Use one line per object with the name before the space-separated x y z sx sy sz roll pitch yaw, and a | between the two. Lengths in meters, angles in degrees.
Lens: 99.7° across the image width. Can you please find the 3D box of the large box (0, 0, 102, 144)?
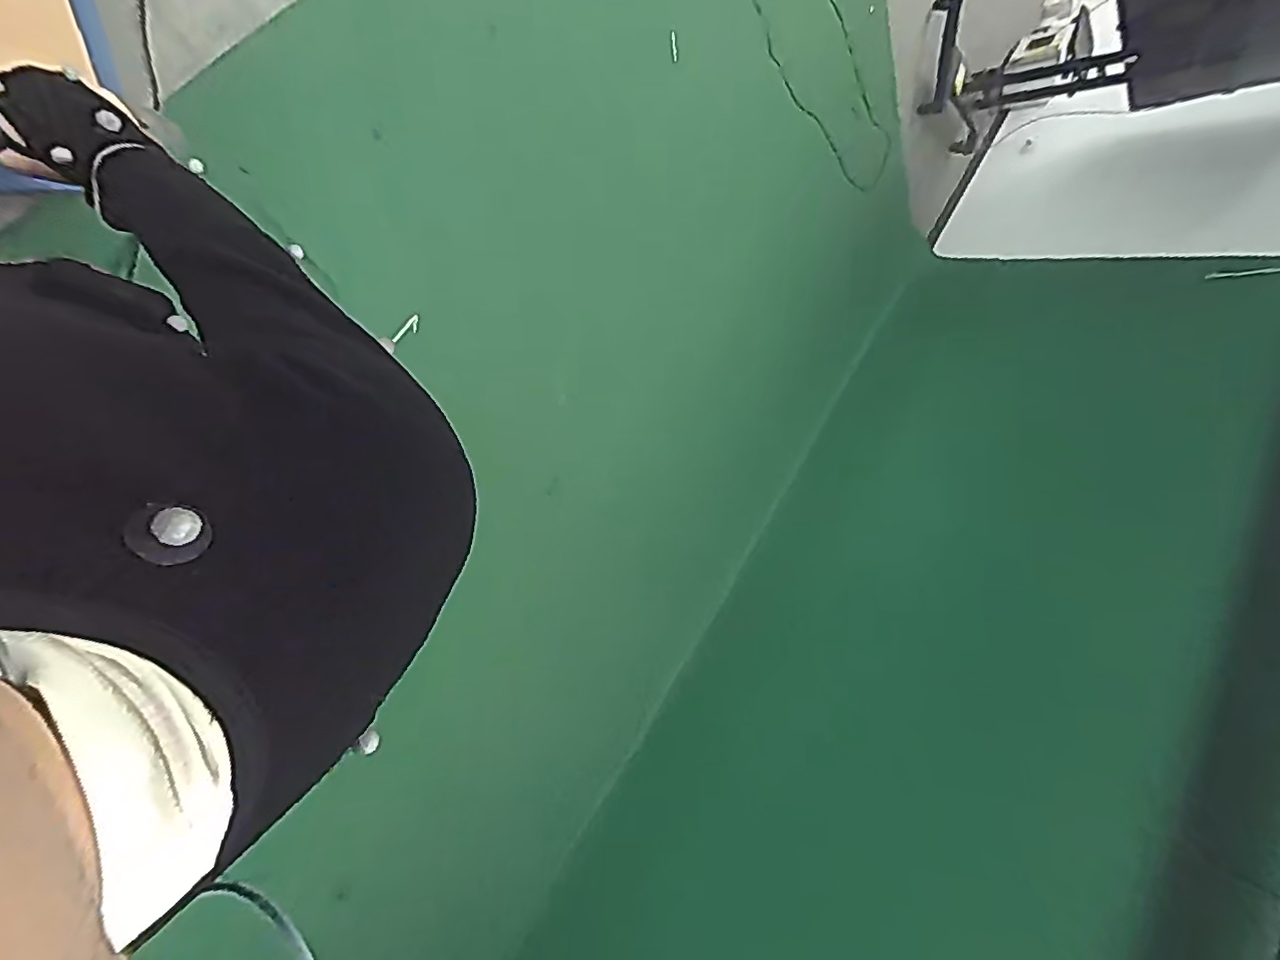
large box | -1.005 -0.706 0.712 0.320 0.320 0.408 -24 120 -41
